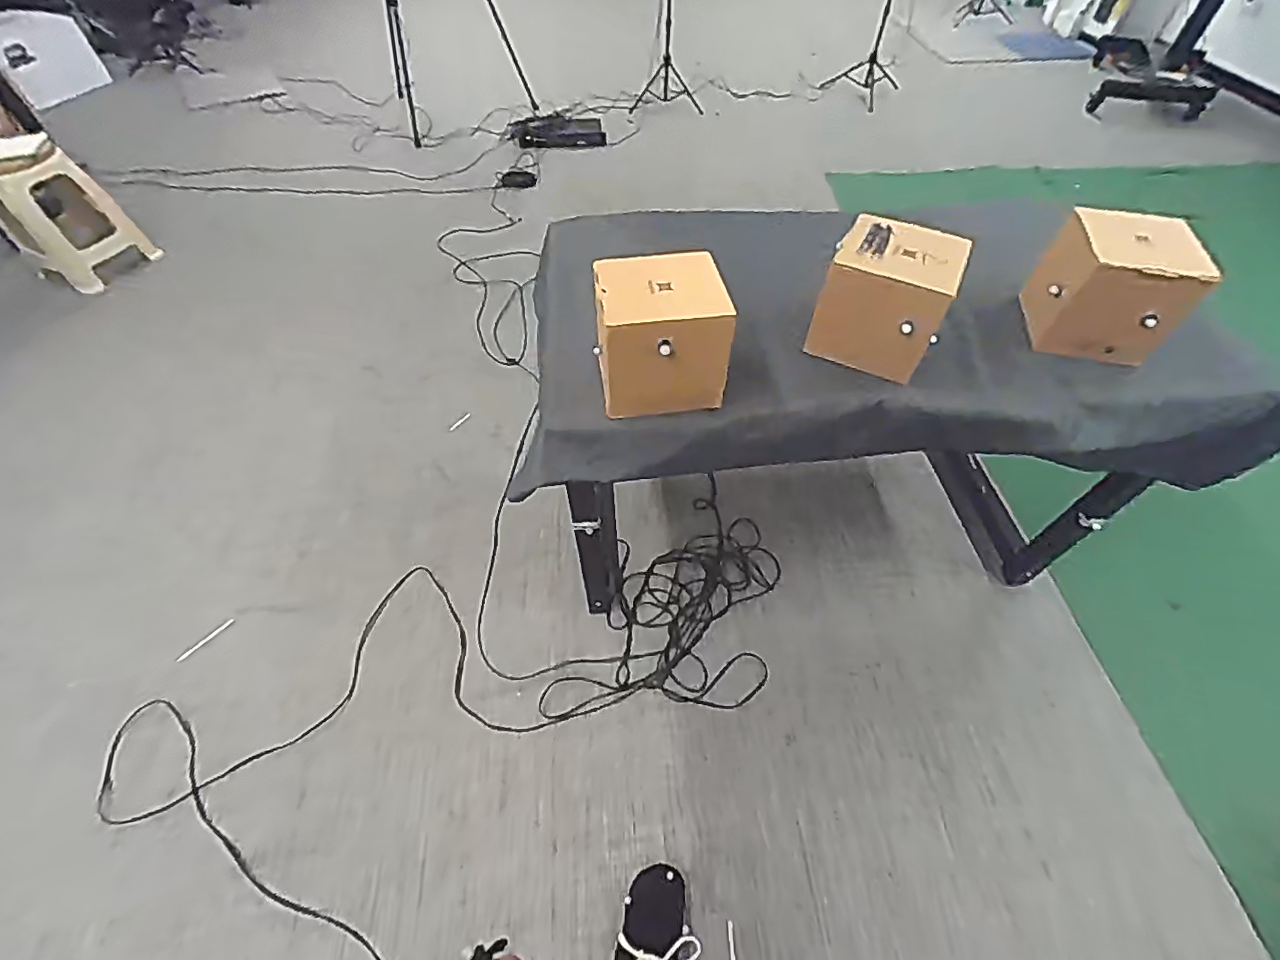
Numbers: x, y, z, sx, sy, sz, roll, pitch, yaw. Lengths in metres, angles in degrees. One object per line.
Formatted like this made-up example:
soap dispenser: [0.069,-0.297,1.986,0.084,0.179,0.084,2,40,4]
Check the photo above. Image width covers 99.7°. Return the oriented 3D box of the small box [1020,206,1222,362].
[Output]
small box: [0.768,-0.319,0.890,0.168,0.176,0.179,12,53,8]

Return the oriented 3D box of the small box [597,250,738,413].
small box: [0.032,-0.218,0.808,0.179,0.176,0.168,-6,51,-4]
